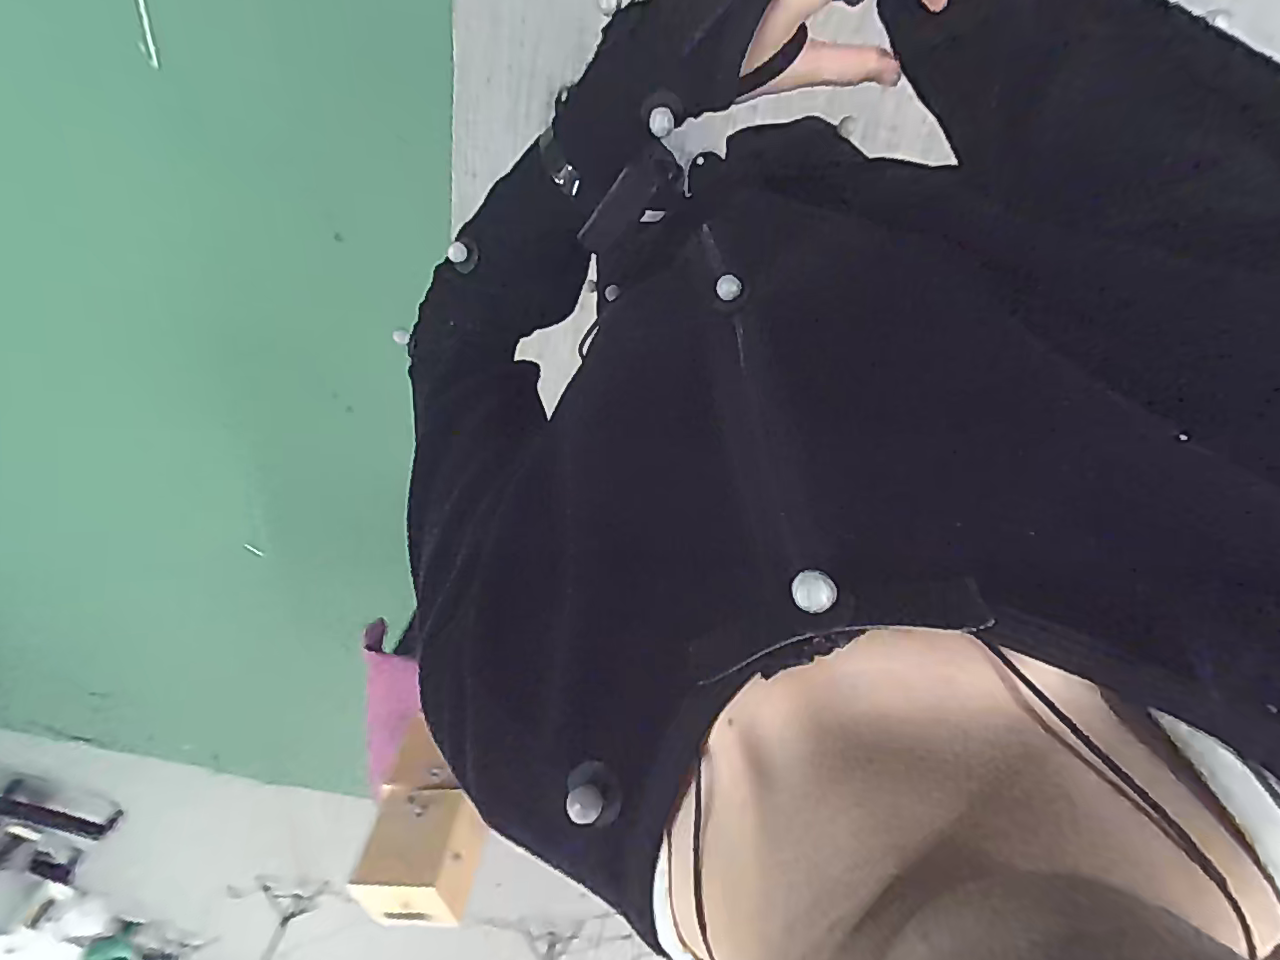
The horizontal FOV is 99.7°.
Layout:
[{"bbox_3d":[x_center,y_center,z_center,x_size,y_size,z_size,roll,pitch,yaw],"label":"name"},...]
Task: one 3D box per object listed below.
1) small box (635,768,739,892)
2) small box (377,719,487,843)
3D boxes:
[{"bbox_3d":[0.101,0.782,1.214,0.168,0.176,0.179,24,122,-11],"label":"small box"},{"bbox_3d":[-0.441,0.642,1.162,0.179,0.176,0.168,15,123,-5],"label":"small box"}]
